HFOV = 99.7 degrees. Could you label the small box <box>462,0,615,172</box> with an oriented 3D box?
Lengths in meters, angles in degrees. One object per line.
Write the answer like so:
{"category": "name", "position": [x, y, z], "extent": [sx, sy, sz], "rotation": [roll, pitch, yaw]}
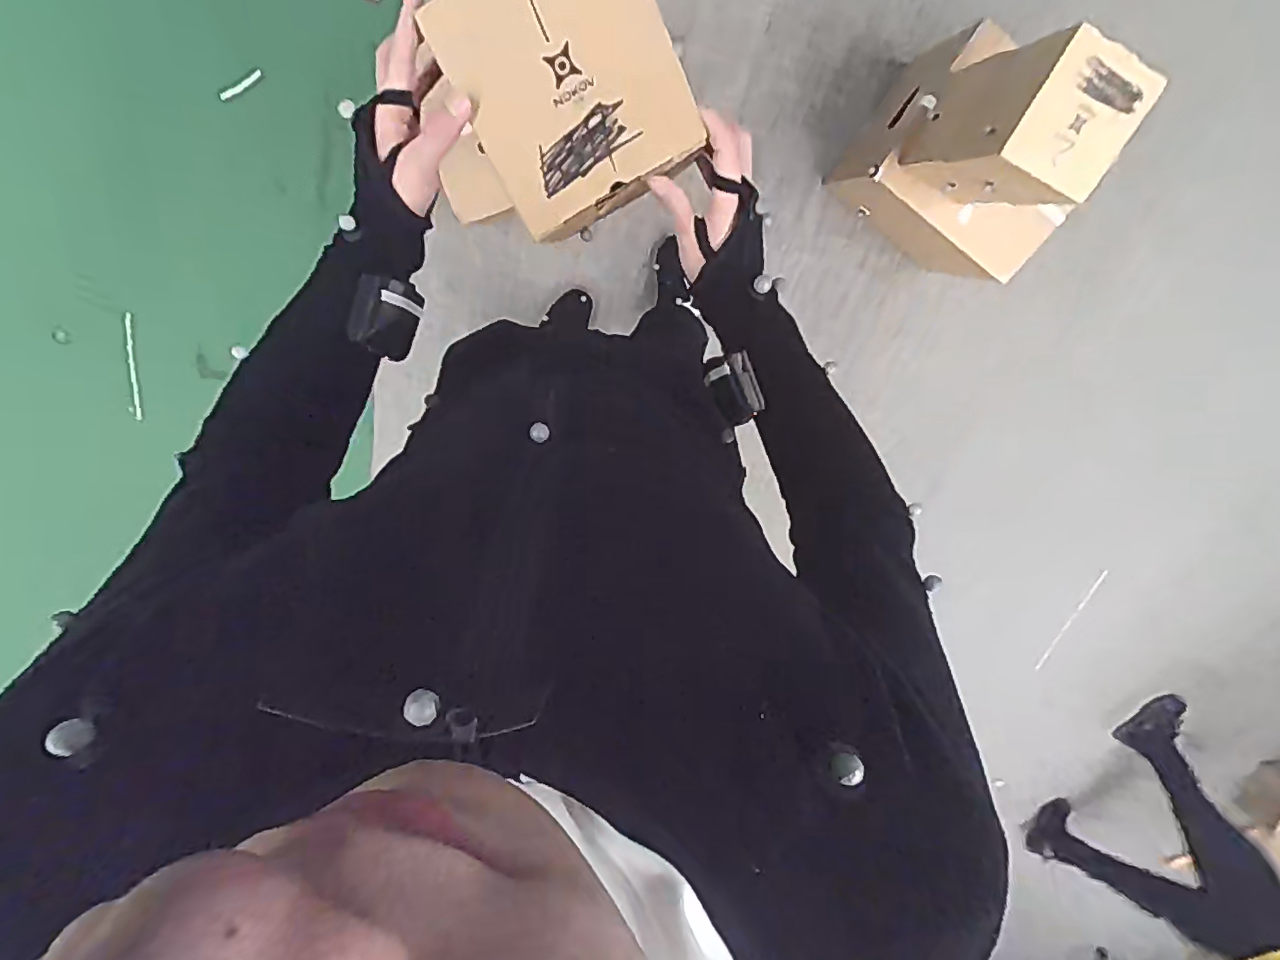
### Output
{"category": "small box", "position": [-0.141, -0.589, 0.816], "extent": [0.168, 0.176, 0.179], "rotation": [-16, 115, 6]}

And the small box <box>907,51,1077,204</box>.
{"category": "small box", "position": [0.631, -0.636, 1.002], "extent": [0.168, 0.176, 0.179], "rotation": [22, 113, -12]}

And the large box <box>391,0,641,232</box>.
{"category": "large box", "position": [-0.236, -0.771, 1.180], "extent": [0.408, 0.320, 0.320], "rotation": [-17, 113, 7]}
